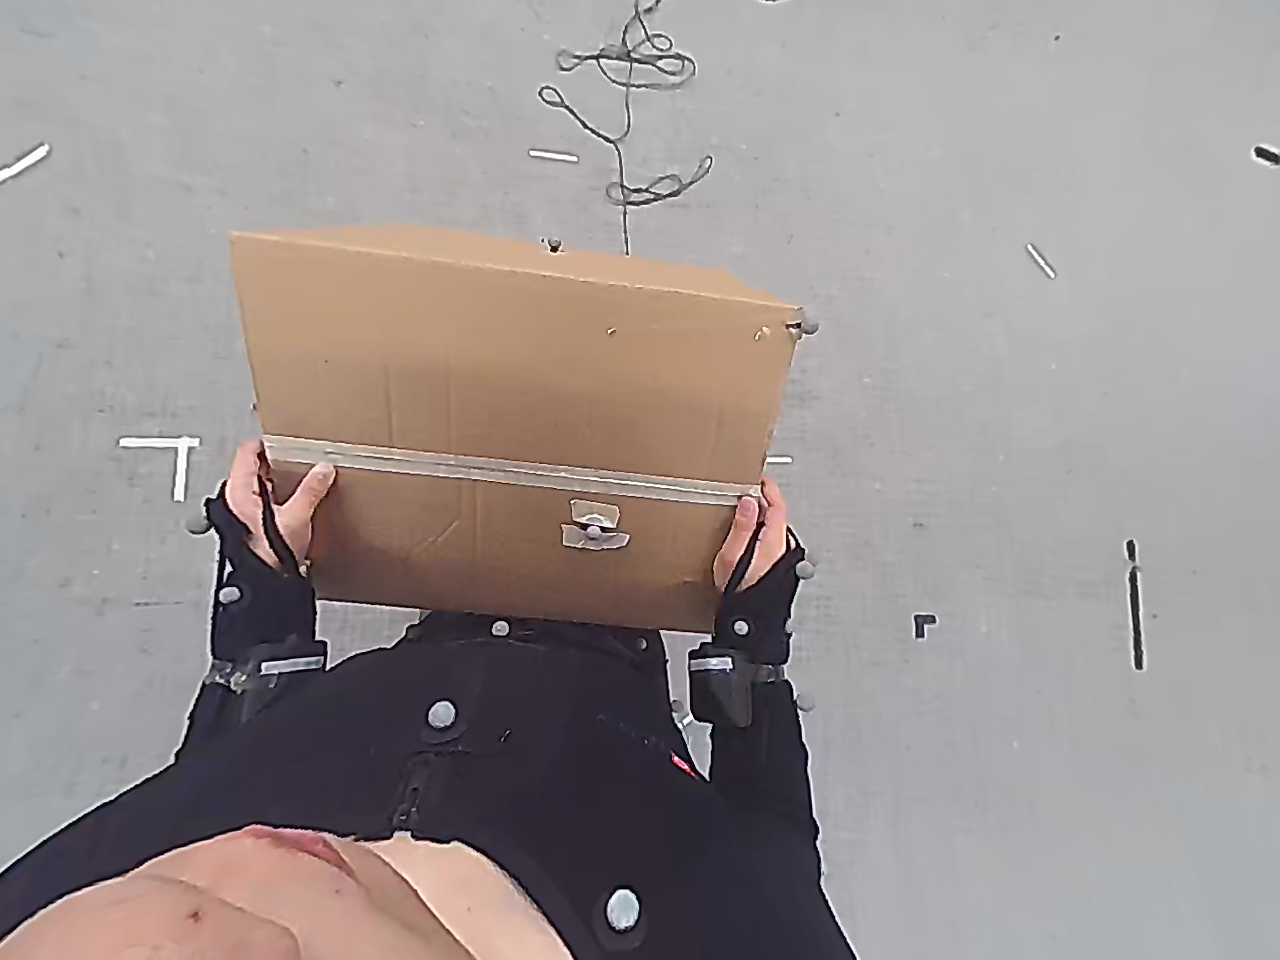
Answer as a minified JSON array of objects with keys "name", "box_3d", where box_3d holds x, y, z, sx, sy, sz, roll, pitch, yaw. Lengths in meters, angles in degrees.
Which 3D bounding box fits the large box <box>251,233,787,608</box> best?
[{"name":"large box","box_3d":[-0.106,-0.085,0.598,0.408,0.320,0.320,5,117,-5]}]
